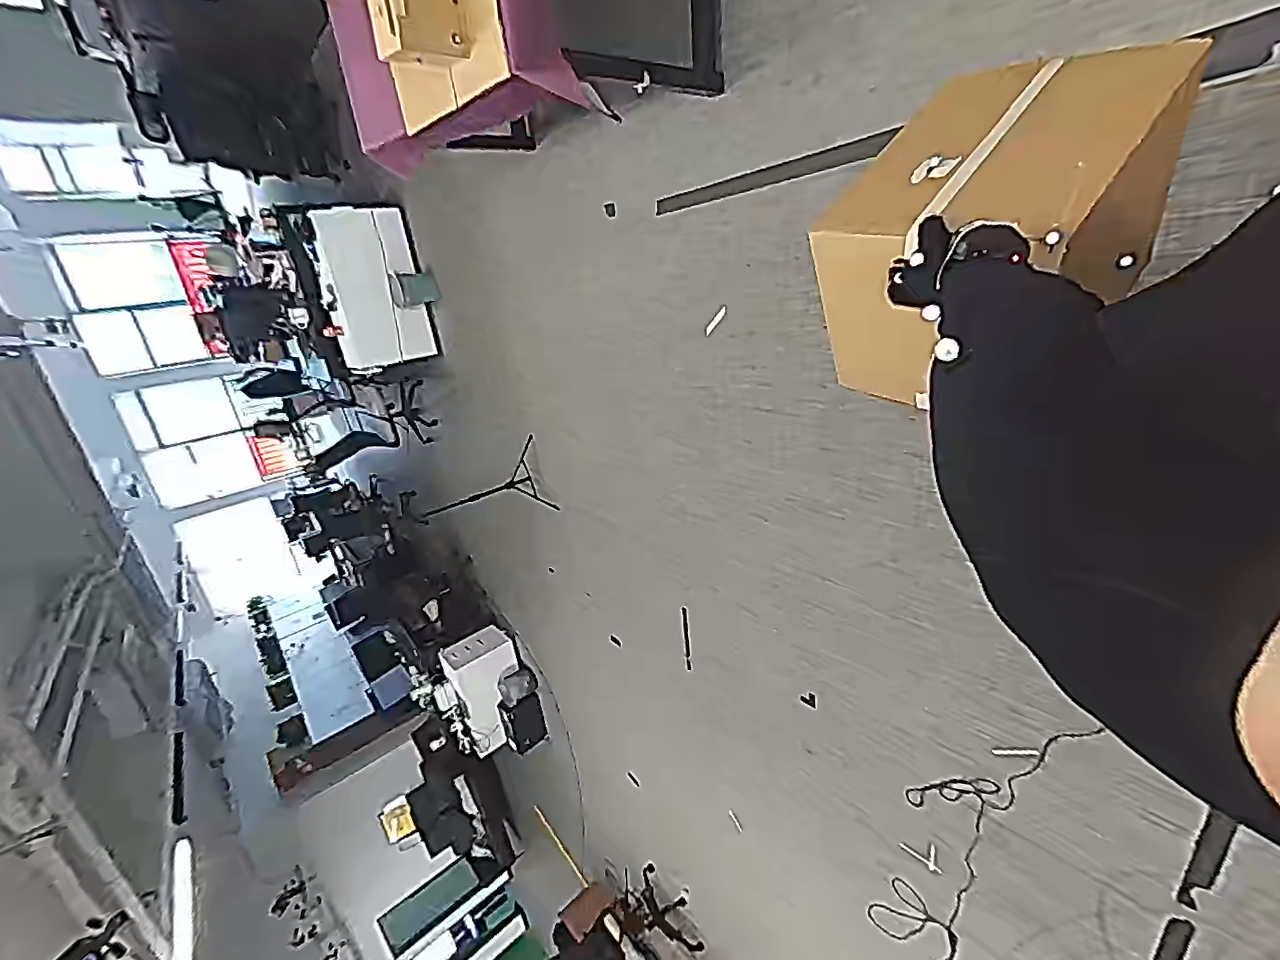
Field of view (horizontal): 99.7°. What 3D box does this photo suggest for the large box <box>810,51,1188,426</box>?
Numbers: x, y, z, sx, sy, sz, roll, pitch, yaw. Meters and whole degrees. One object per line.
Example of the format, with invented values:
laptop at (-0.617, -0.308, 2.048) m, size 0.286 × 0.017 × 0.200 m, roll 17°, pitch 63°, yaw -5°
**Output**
large box at (0.529, -0.360, 0.836) m, size 0.320 × 0.408 × 0.320 m, roll 28°, pitch 162°, yaw 43°
